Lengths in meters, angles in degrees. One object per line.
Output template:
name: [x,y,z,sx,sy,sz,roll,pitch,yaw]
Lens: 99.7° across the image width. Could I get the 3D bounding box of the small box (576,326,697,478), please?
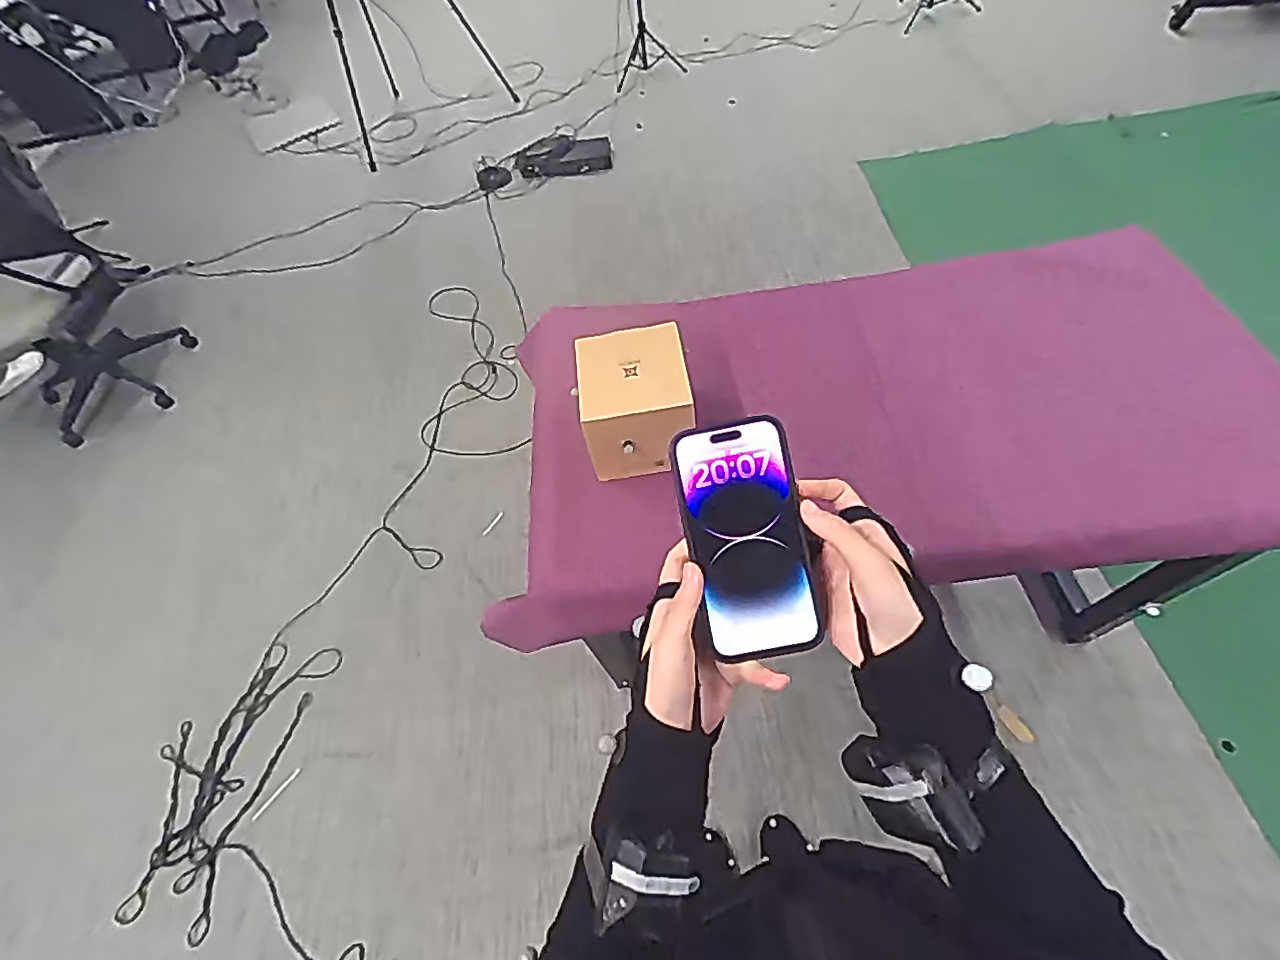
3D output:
small box: [-0.003,-0.117,0.879,0.168,0.176,0.179,-10,55,3]
